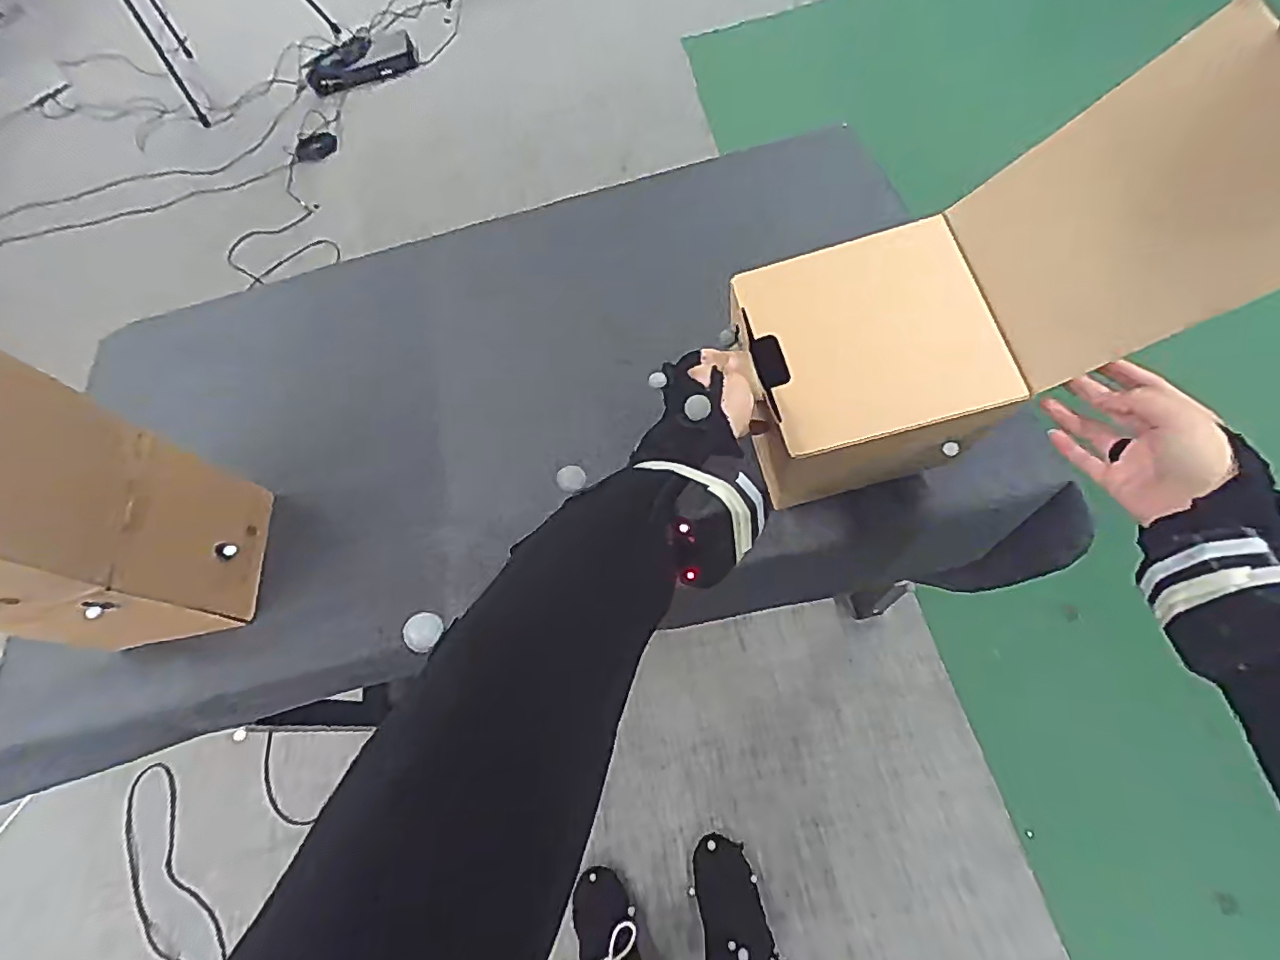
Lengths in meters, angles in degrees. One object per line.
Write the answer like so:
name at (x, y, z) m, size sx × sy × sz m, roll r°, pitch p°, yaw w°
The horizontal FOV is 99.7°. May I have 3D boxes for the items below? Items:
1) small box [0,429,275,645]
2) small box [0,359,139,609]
small box at (-0.548, 0.072, 0.585) m, size 0.179 × 0.176 × 0.168 m, roll -11°, pitch 63°, yaw 4°
small box at (-0.567, 0.005, 0.438) m, size 0.168 × 0.176 × 0.179 m, roll -16°, pitch 62°, yaw 0°
